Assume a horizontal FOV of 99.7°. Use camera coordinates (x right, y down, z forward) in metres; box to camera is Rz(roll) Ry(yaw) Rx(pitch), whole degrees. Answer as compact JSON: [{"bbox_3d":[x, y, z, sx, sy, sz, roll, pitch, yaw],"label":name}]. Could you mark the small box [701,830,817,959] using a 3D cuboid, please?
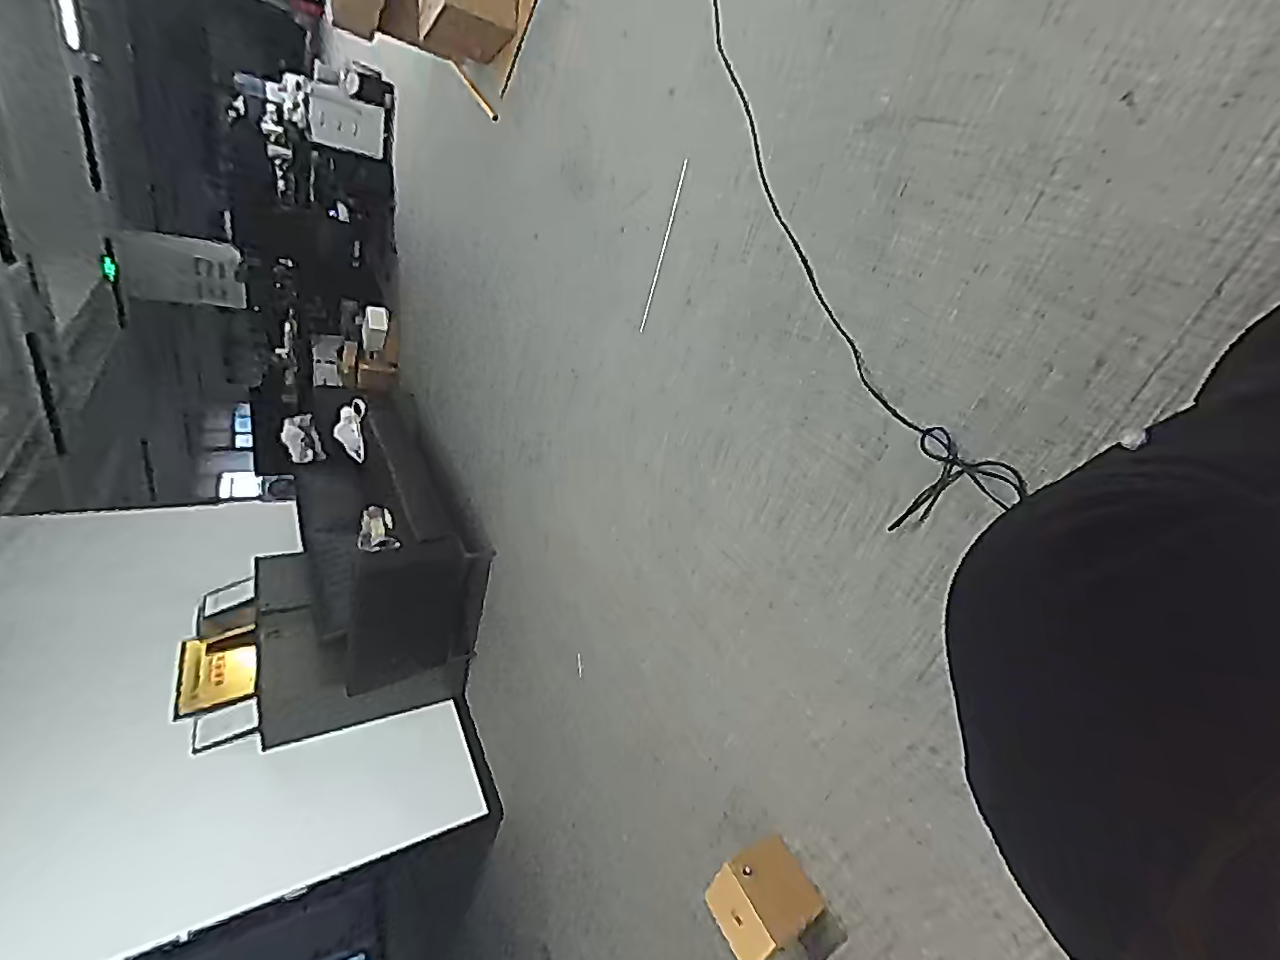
[{"bbox_3d":[0.278,0.970,1.262,0.179,0.176,0.168,48,130,44],"label":"small box"}]
